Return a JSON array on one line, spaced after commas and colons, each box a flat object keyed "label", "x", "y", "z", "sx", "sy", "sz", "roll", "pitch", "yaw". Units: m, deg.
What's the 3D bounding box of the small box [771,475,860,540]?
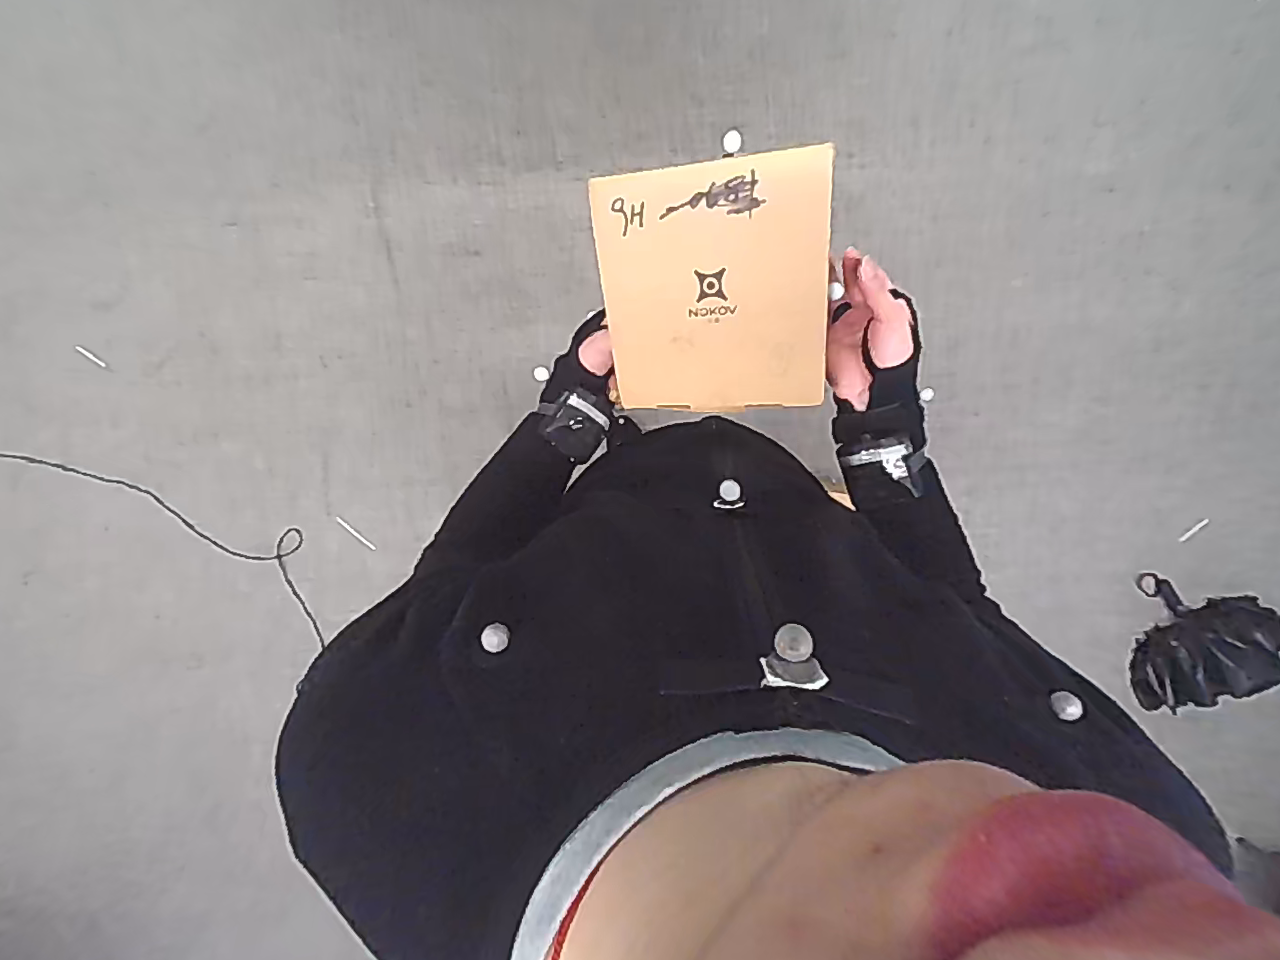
[{"label": "small box", "x": 0.480, "y": 0.083, "z": 1.503, "sx": 0.179, "sy": 0.176, "sz": 0.168, "roll": 9, "pitch": 96, "yaw": 0}]

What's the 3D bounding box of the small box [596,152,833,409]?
[{"label": "small box", "x": 0.076, "y": -0.176, "z": 0.475, "sx": 0.168, "sy": 0.176, "sz": 0.179, "roll": 2, "pitch": 122, "yaw": 16}]
